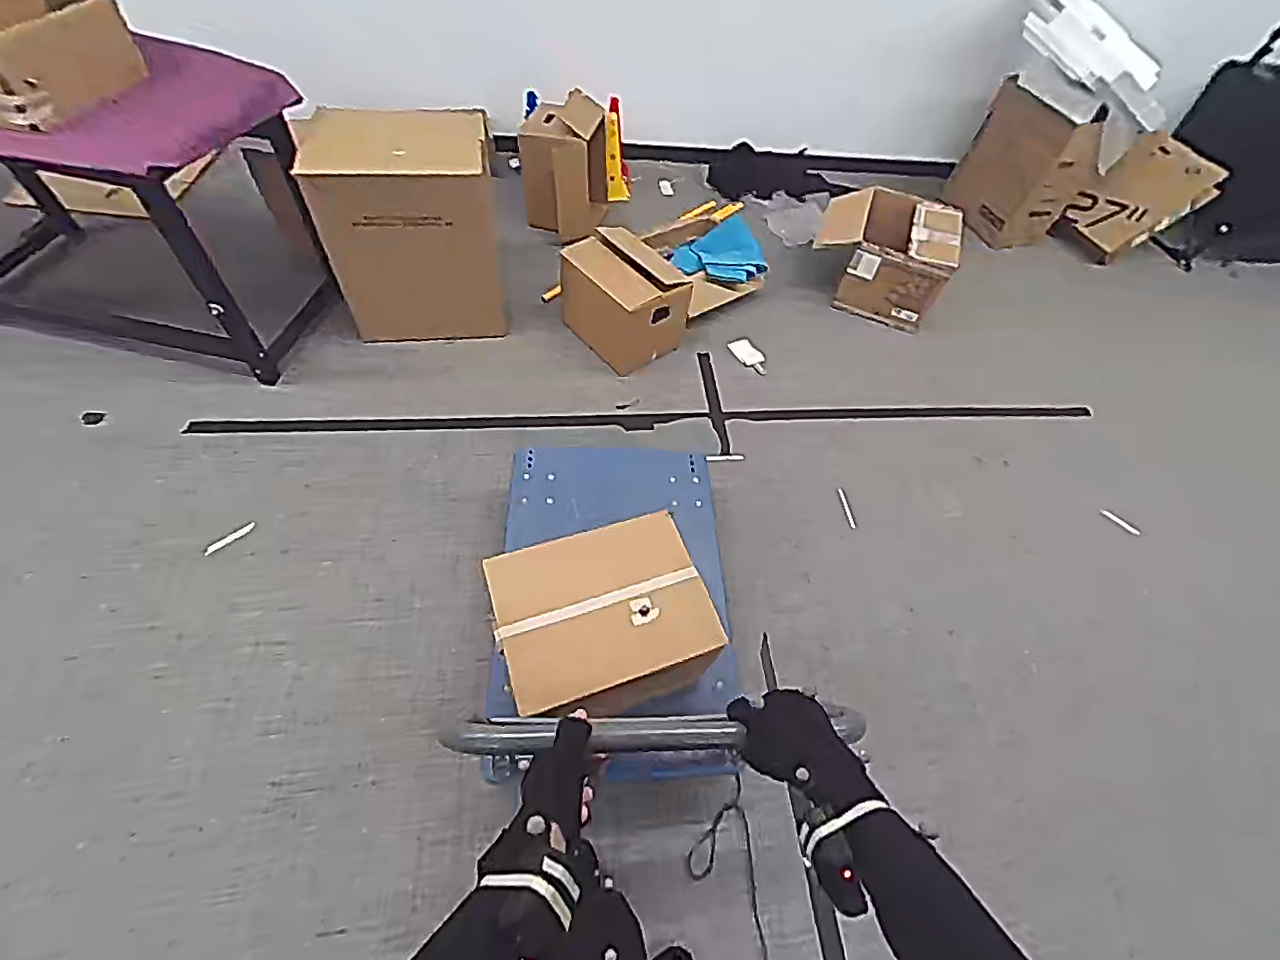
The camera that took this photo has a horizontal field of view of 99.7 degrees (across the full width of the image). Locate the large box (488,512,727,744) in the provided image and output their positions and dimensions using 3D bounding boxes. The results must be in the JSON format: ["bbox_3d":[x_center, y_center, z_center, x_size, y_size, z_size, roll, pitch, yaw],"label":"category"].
[{"bbox_3d":[-0.085,0.322,1.176,0.408,0.320,0.320,-14,59,-17],"label":"large box"}]
